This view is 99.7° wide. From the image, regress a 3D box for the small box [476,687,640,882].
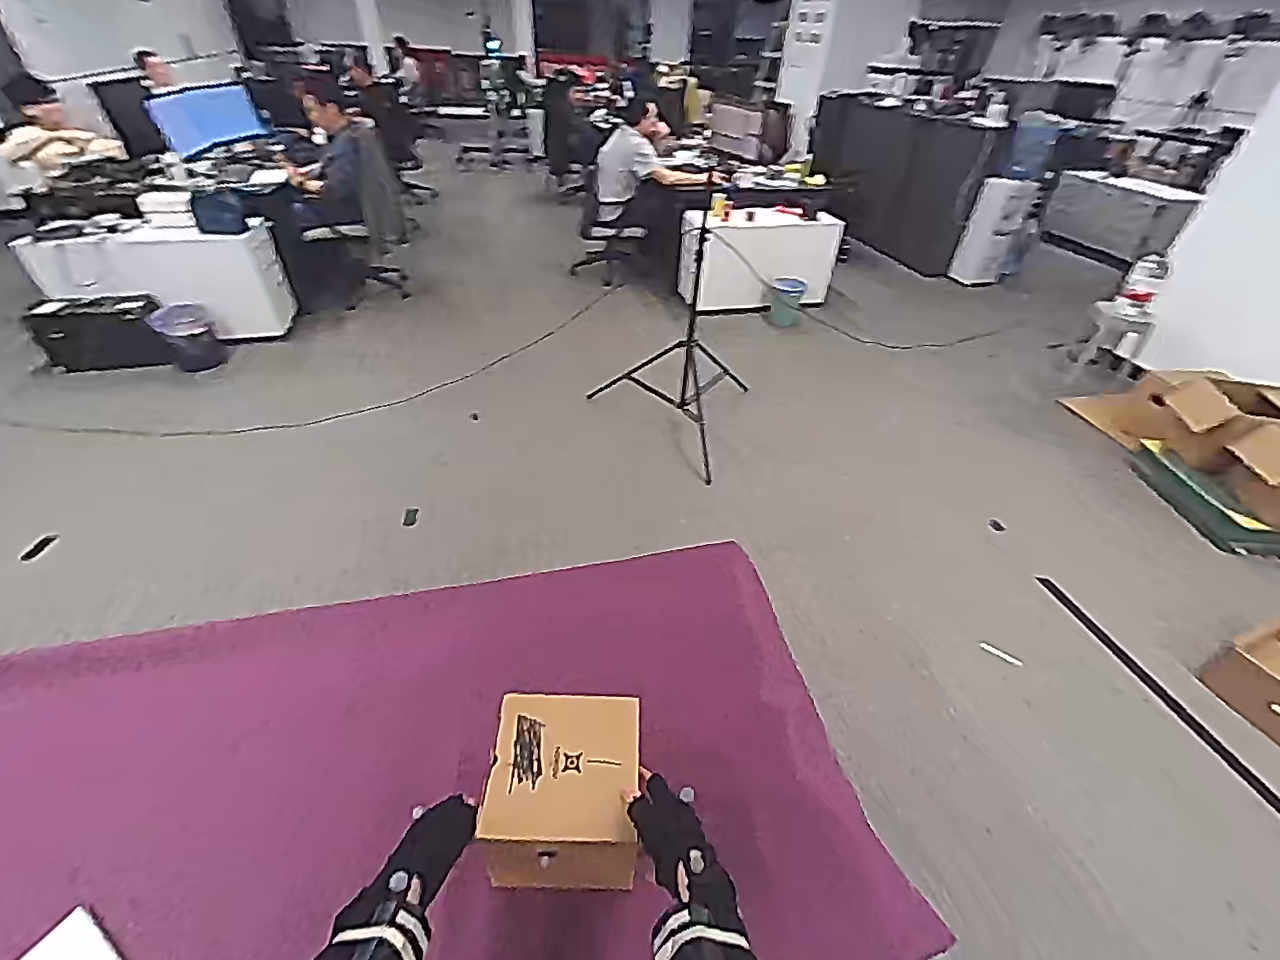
[{"bbox_3d":[-0.090,0.383,0.681,0.179,0.176,0.168,2,38,-2],"label":"small box"}]
